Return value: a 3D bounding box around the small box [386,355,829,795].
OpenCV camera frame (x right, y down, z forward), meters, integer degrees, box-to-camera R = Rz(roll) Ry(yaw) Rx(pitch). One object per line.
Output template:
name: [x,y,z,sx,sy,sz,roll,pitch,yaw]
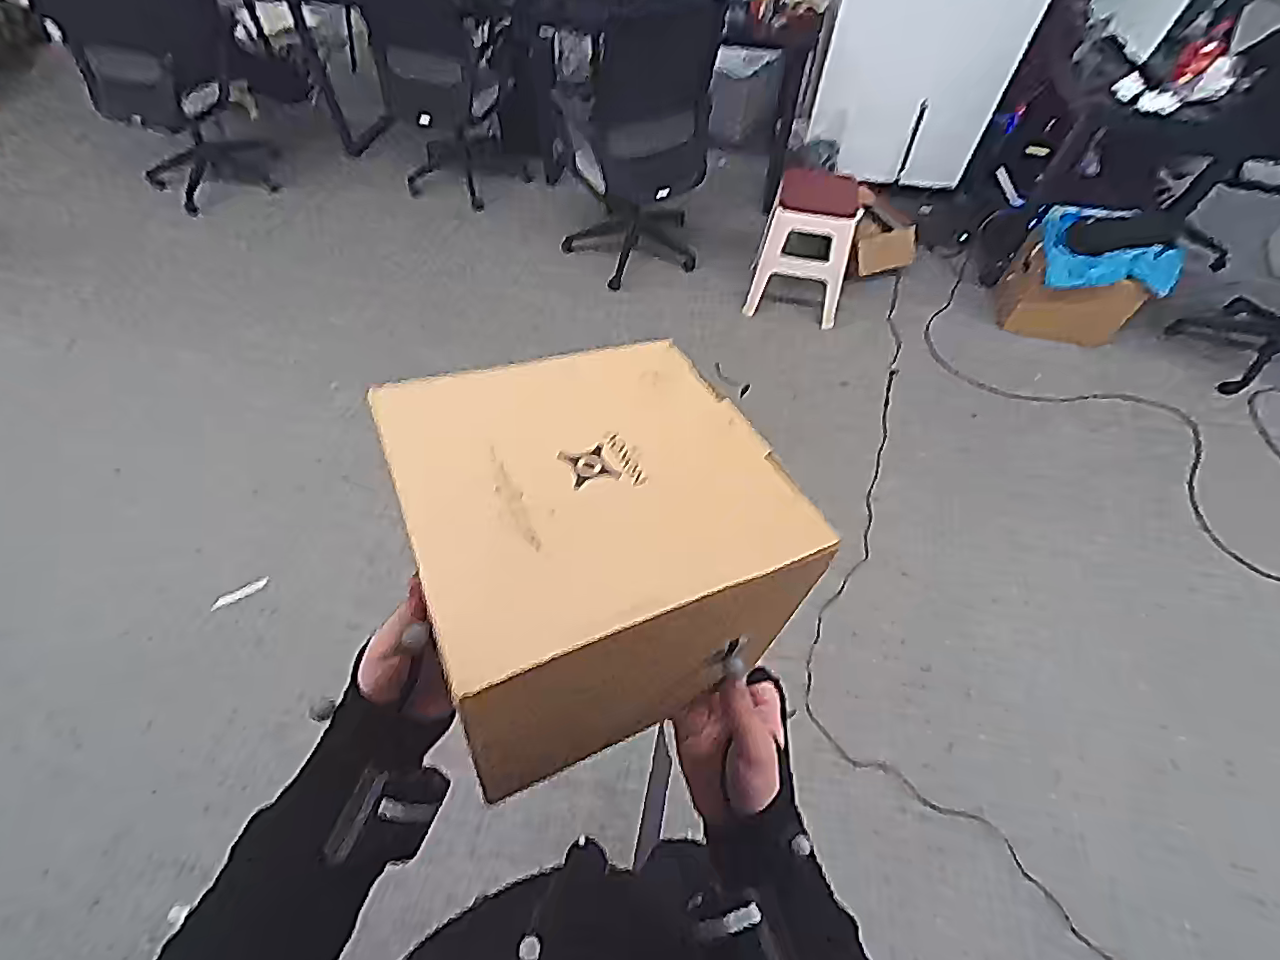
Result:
small box: [-0.031,0.053,0.324,0.179,0.176,0.168,-16,53,-23]
